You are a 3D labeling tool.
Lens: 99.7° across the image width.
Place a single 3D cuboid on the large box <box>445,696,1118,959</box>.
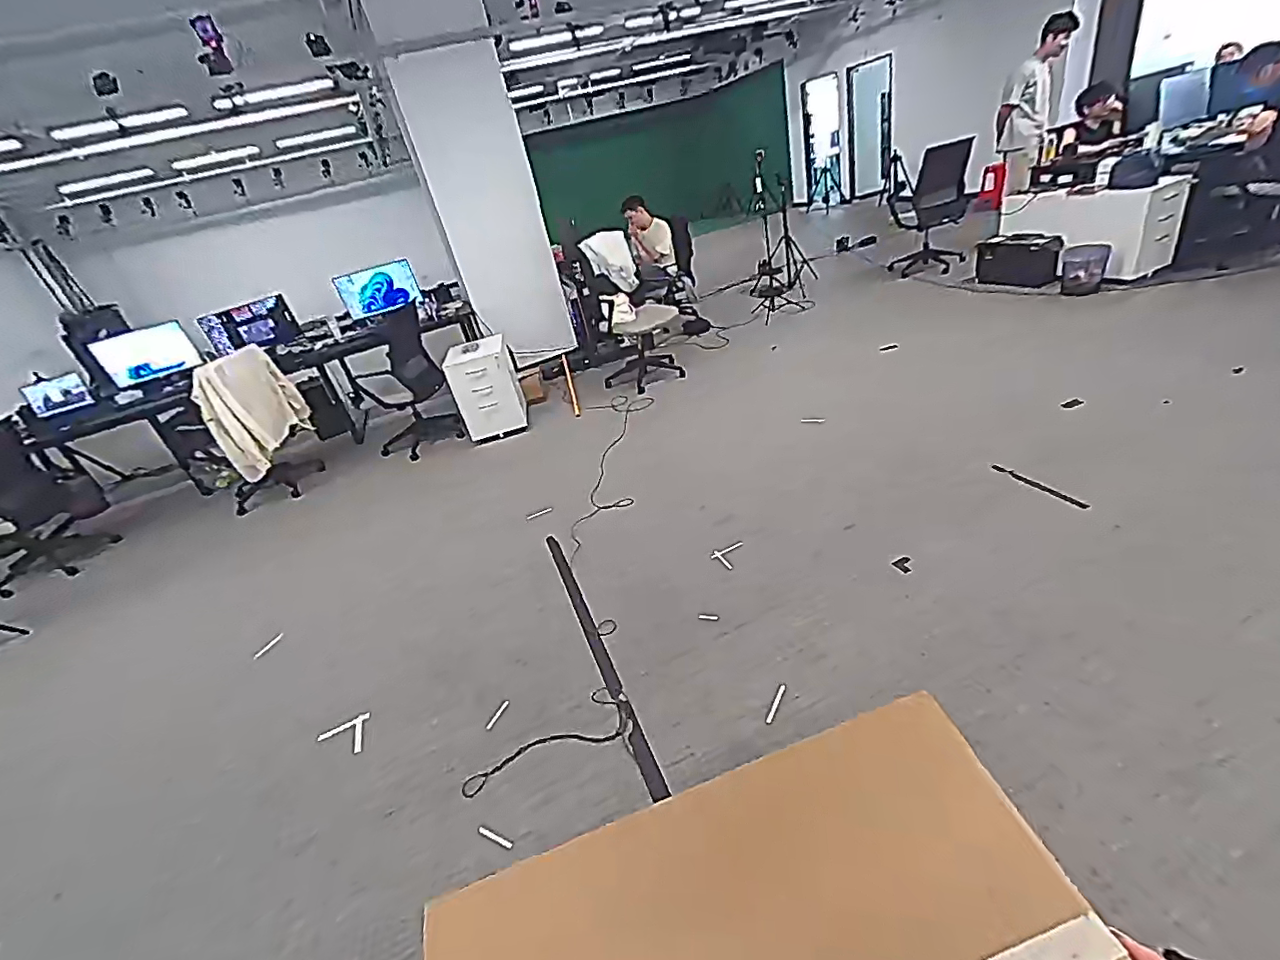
[{"bbox_3d":[0.117,0.440,0.405,0.408,0.320,0.320,-22,45,-4],"label":"large box"}]
